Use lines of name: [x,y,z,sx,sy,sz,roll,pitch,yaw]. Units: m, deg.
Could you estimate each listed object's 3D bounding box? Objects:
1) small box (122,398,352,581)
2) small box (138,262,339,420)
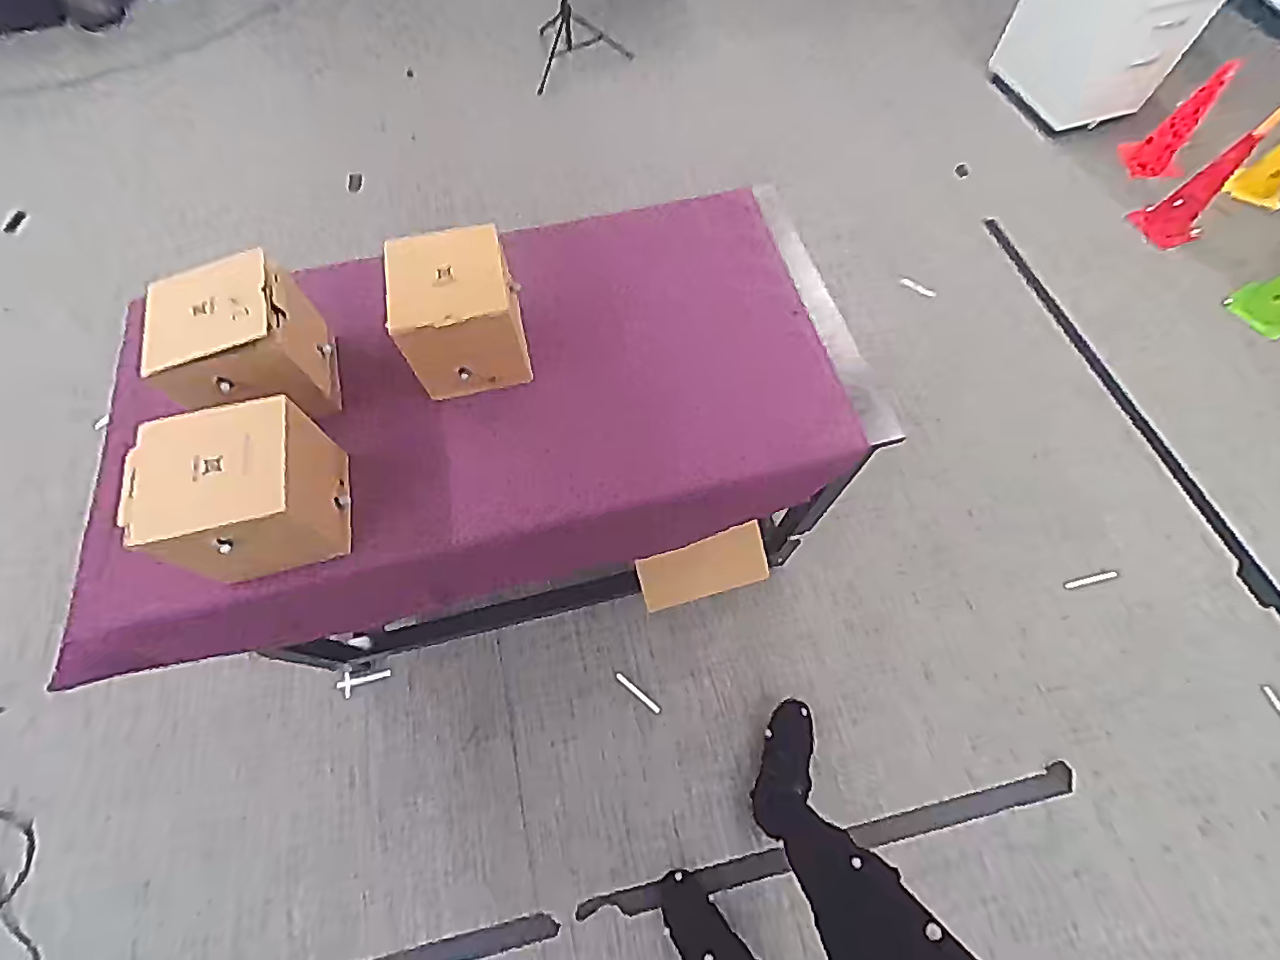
small box: [-0.509,0.021,0.711,0.179,0.176,0.168,-14,66,-6]
small box: [-0.584,-0.188,0.807,0.179,0.176,0.168,-15,67,-7]
